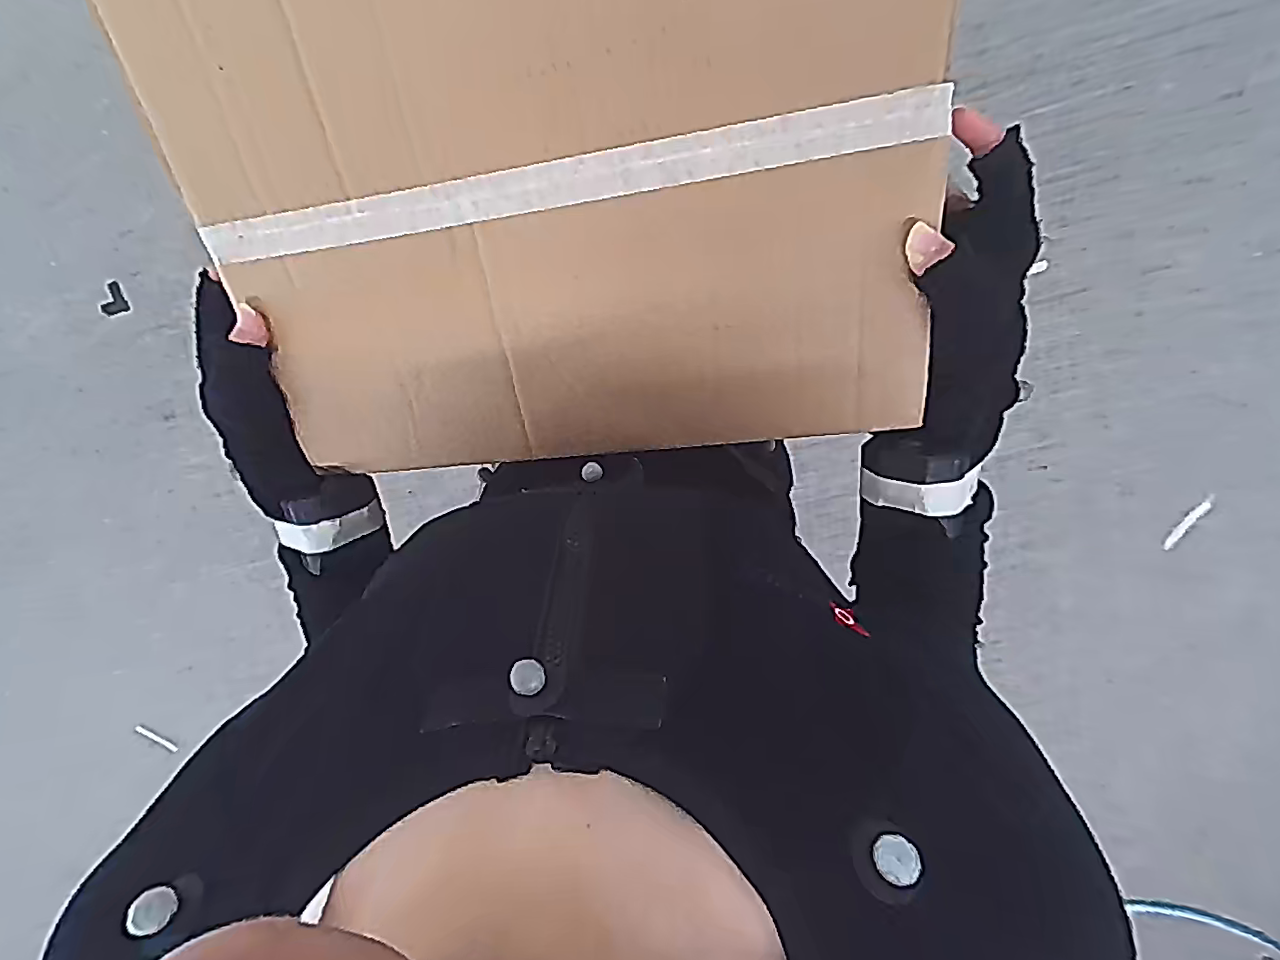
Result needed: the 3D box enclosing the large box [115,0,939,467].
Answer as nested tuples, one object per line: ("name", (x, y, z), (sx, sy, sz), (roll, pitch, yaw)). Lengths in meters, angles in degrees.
("large box", (-0.035, -0.231, 0.421), (0.408, 0.320, 0.320), (-5, 117, 11))
